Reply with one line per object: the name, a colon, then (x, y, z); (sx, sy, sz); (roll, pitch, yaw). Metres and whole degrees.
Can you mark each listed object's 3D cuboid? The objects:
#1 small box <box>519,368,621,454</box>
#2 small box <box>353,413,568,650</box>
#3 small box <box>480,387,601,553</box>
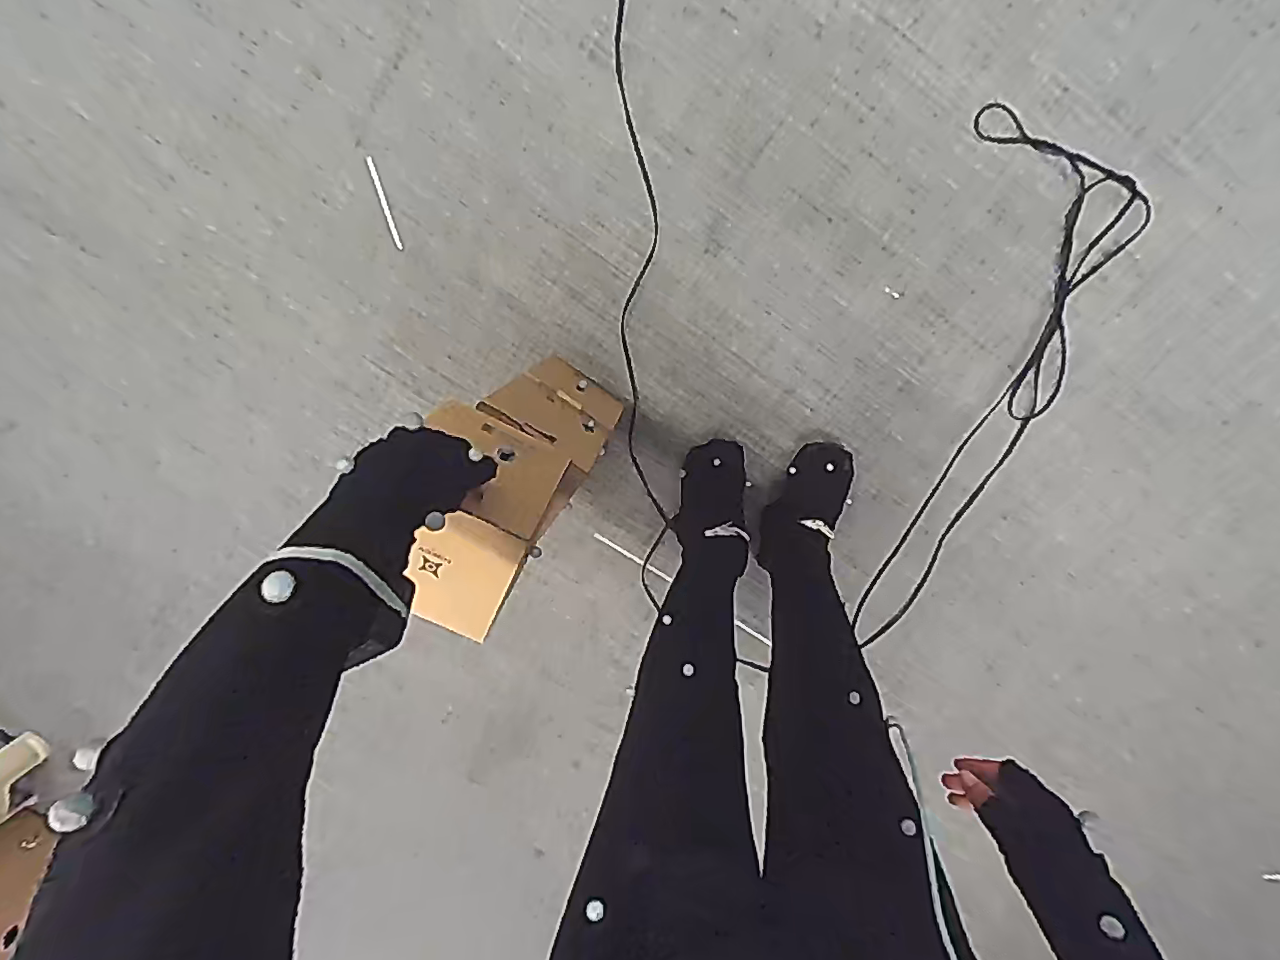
small box: (-0.147, -0.075, 0.944); (0.168, 0.176, 0.179); (33, 110, -4)
small box: (-0.199, 0.054, 0.627); (0.168, 0.176, 0.179); (25, 124, -5)
small box: (-0.171, -0.011, 0.791); (0.168, 0.176, 0.179); (35, 112, -8)
